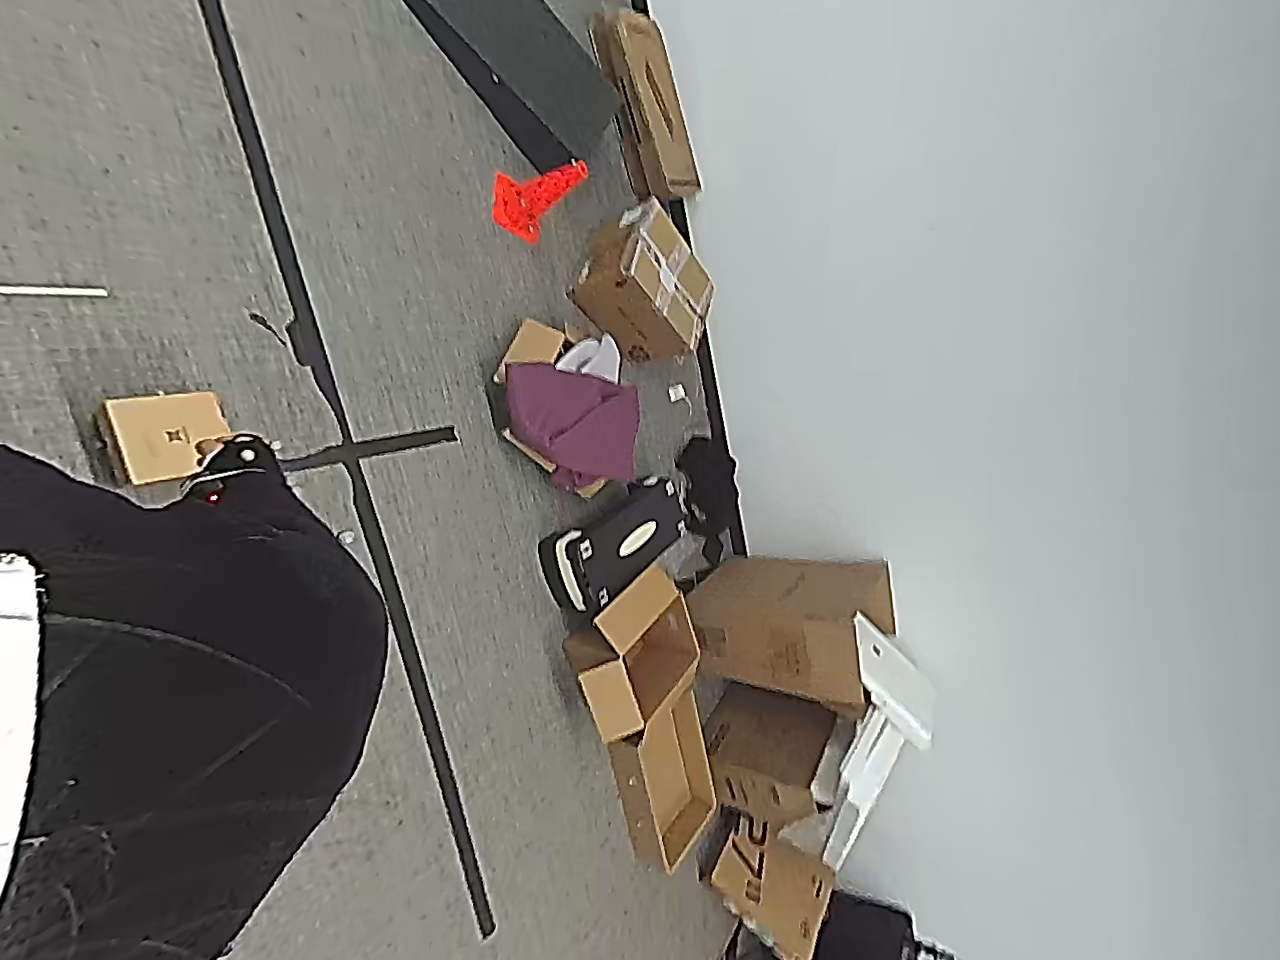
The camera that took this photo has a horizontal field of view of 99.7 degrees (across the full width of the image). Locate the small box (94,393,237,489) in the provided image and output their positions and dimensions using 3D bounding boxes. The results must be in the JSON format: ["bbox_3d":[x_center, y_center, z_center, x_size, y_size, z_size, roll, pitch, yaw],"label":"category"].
[{"bbox_3d":[-0.989,-0.081,1.128,0.179,0.176,0.168,-21,102,-49],"label":"small box"}]
